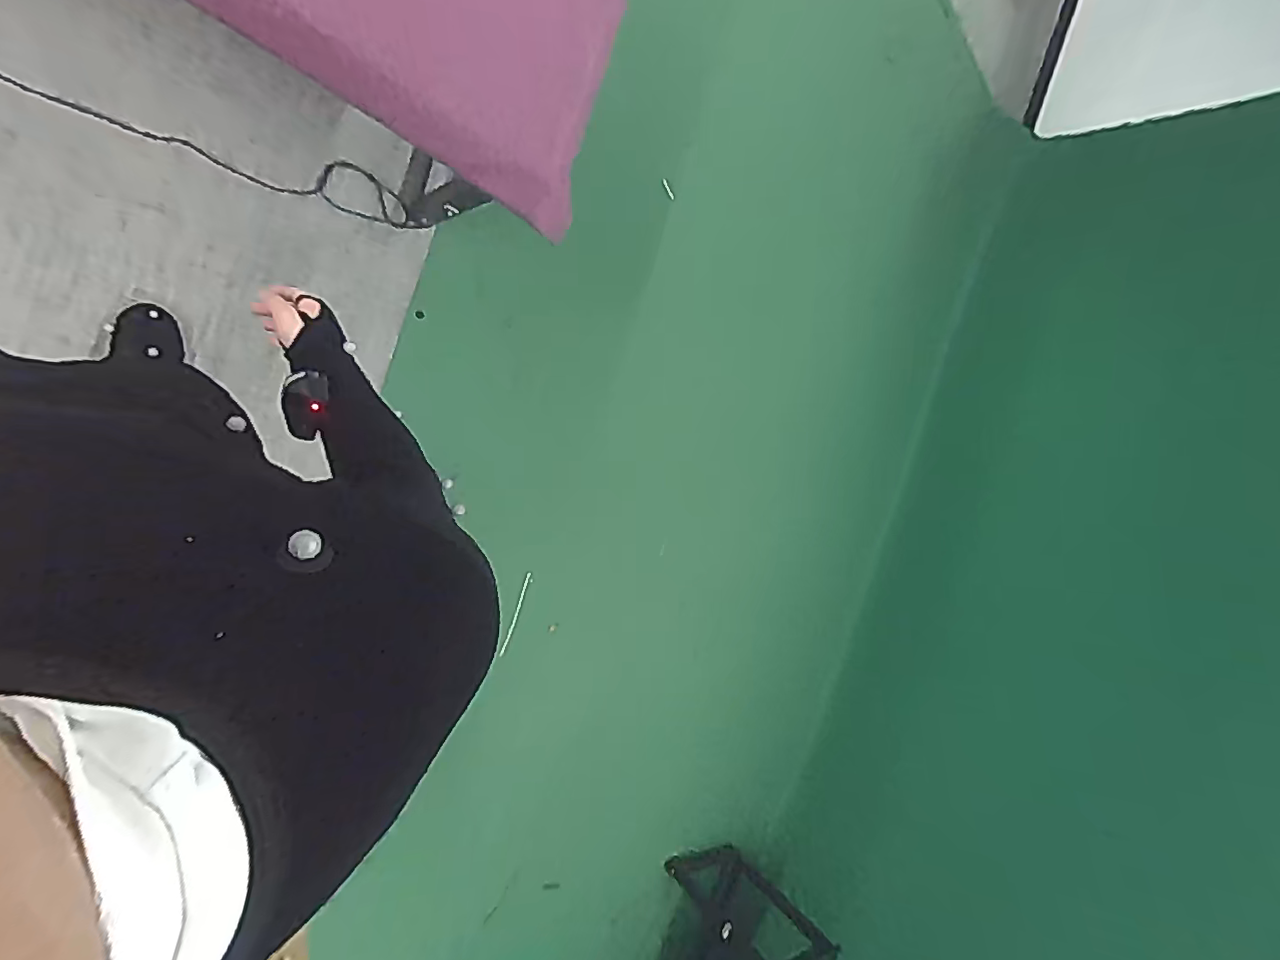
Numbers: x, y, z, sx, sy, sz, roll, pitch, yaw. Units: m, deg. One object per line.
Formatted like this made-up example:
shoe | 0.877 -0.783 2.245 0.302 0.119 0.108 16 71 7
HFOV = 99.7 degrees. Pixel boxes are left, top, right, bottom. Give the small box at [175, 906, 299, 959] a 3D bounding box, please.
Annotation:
small box | -0.816 1.014 1.088 0.168 0.176 0.179 -44 126 -20
